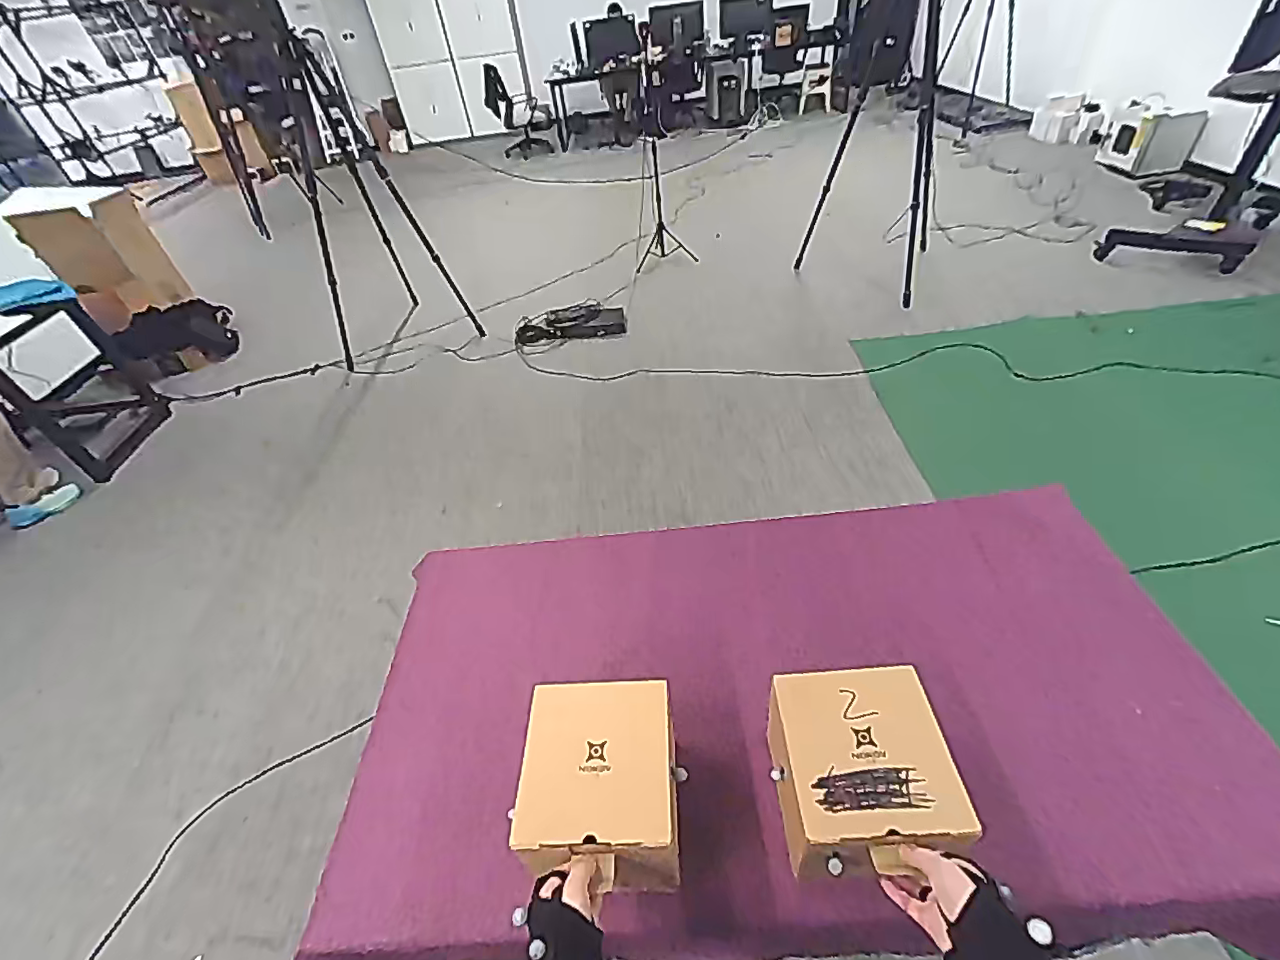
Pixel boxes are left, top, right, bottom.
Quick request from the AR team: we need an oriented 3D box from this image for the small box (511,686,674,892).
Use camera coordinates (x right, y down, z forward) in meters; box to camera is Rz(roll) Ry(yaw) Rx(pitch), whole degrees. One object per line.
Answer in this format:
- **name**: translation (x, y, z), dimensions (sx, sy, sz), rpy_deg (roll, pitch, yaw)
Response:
- **small box**: translation (-0.045, 0.377, 0.664), dimensions (0.168, 0.176, 0.179), rpy_deg (-3, 41, 4)
